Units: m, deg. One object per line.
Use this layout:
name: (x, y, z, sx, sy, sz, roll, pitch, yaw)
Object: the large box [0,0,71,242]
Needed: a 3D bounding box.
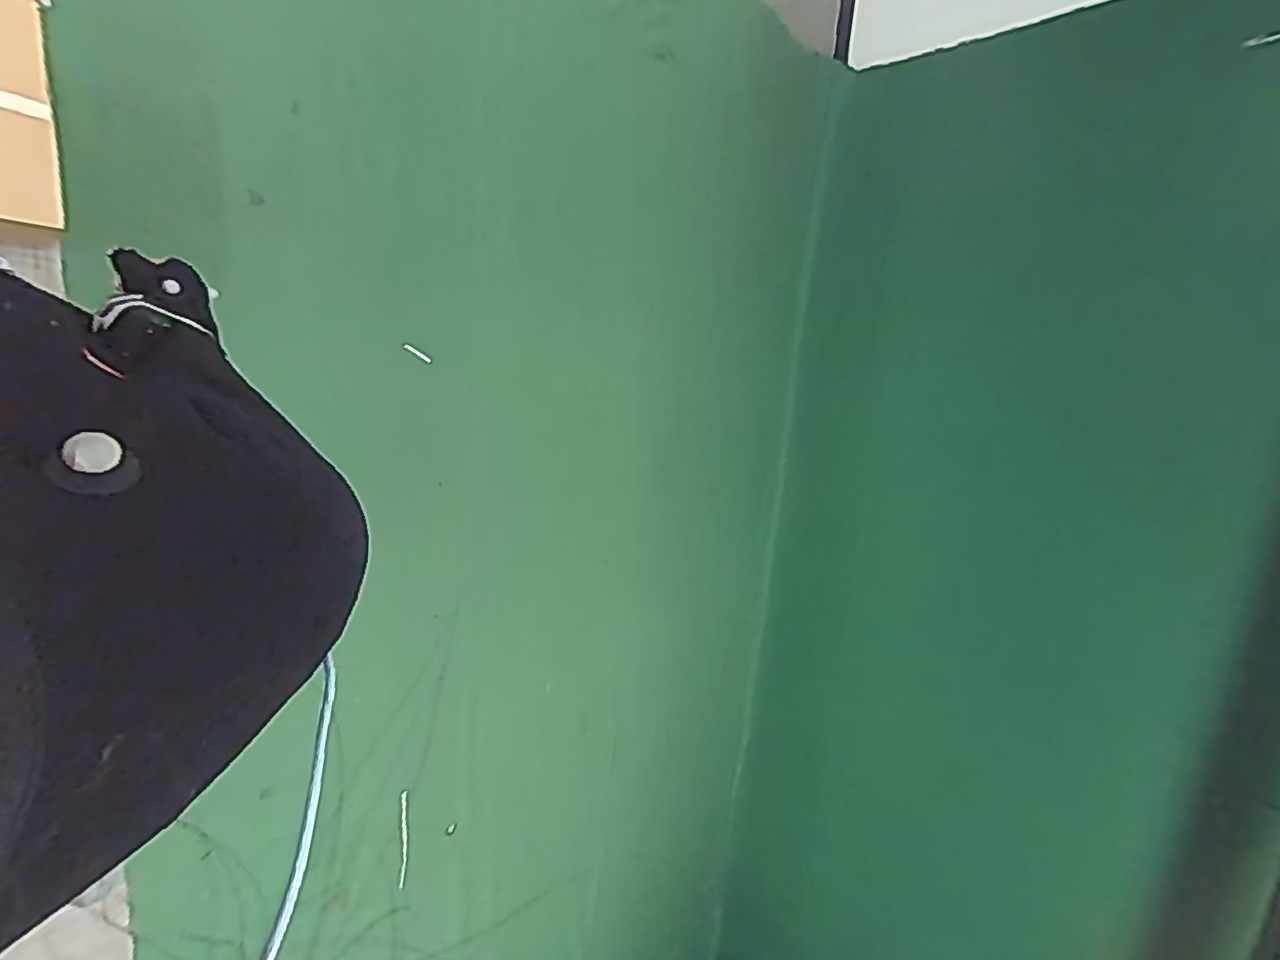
large box: (-1.087, -0.538, 0.724, 0.408, 0.320, 0.320, -9, 107, -50)
